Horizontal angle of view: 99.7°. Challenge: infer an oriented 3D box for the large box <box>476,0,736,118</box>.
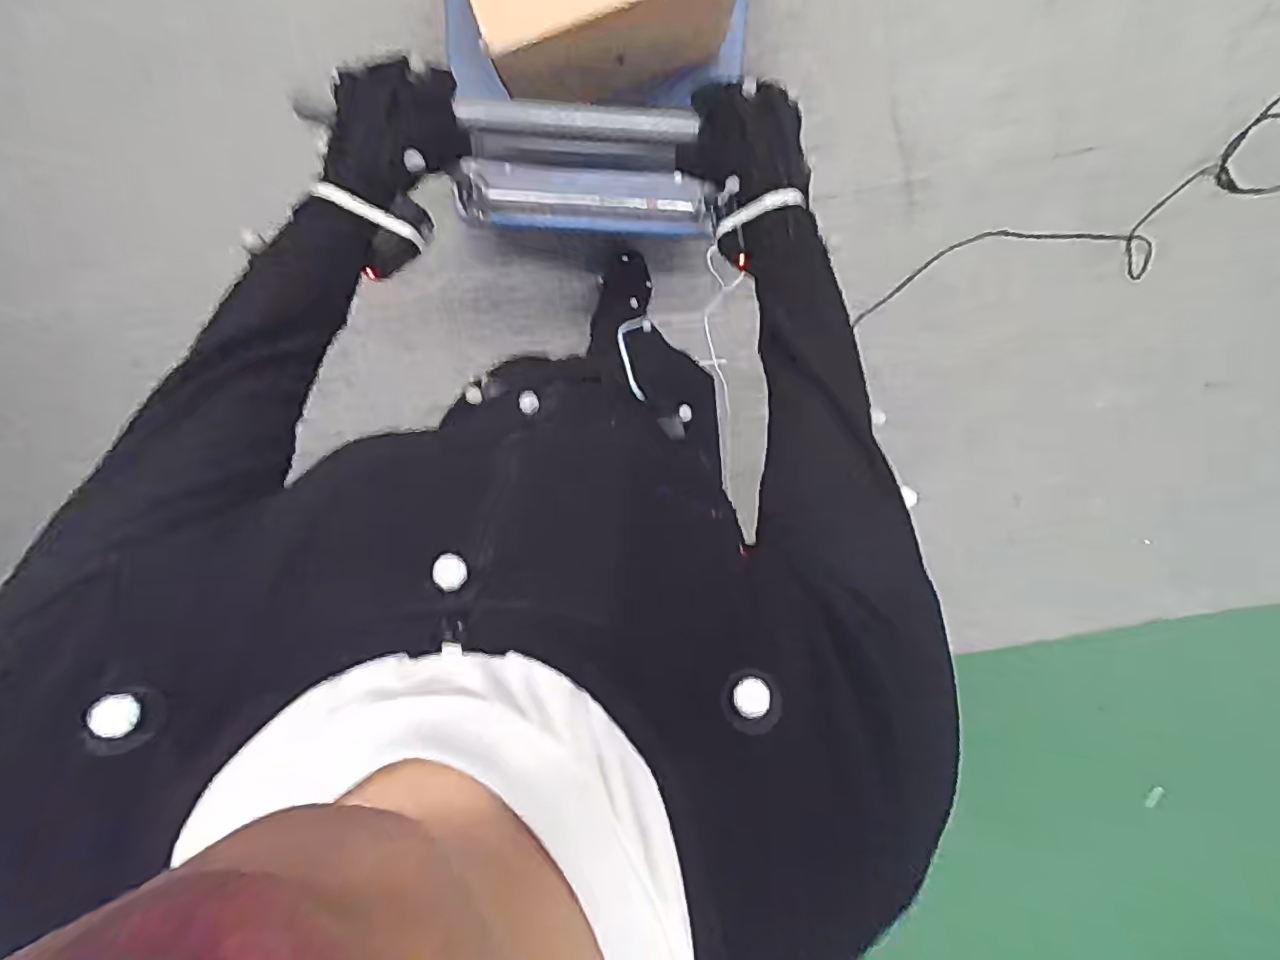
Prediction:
[{"bbox_3d":[-0.073,-0.872,0.883,0.408,0.320,0.320,-17,106,5],"label":"large box"}]
